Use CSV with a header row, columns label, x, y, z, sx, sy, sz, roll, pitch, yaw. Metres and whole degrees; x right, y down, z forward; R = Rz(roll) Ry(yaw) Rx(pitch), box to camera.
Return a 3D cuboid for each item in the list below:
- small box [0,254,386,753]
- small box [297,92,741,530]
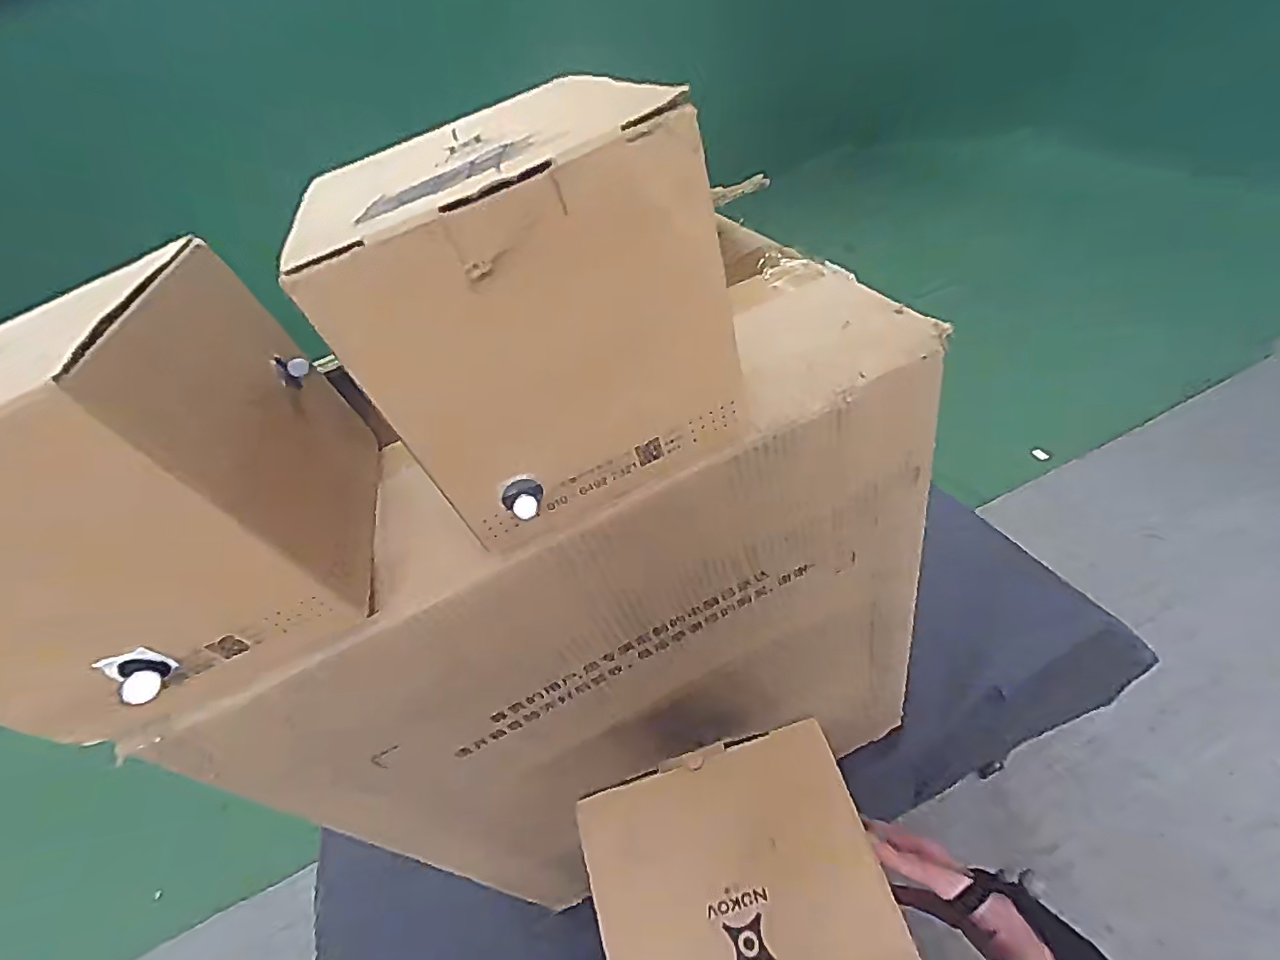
label,x,y,z,sx,sy,sz,roll,pitch,yaw
small box,-0.263,0.011,0.298,0.168,0.176,0.179,-28,44,-2
small box,-0.058,-0.094,0.315,0.168,0.176,0.179,-26,42,-6
